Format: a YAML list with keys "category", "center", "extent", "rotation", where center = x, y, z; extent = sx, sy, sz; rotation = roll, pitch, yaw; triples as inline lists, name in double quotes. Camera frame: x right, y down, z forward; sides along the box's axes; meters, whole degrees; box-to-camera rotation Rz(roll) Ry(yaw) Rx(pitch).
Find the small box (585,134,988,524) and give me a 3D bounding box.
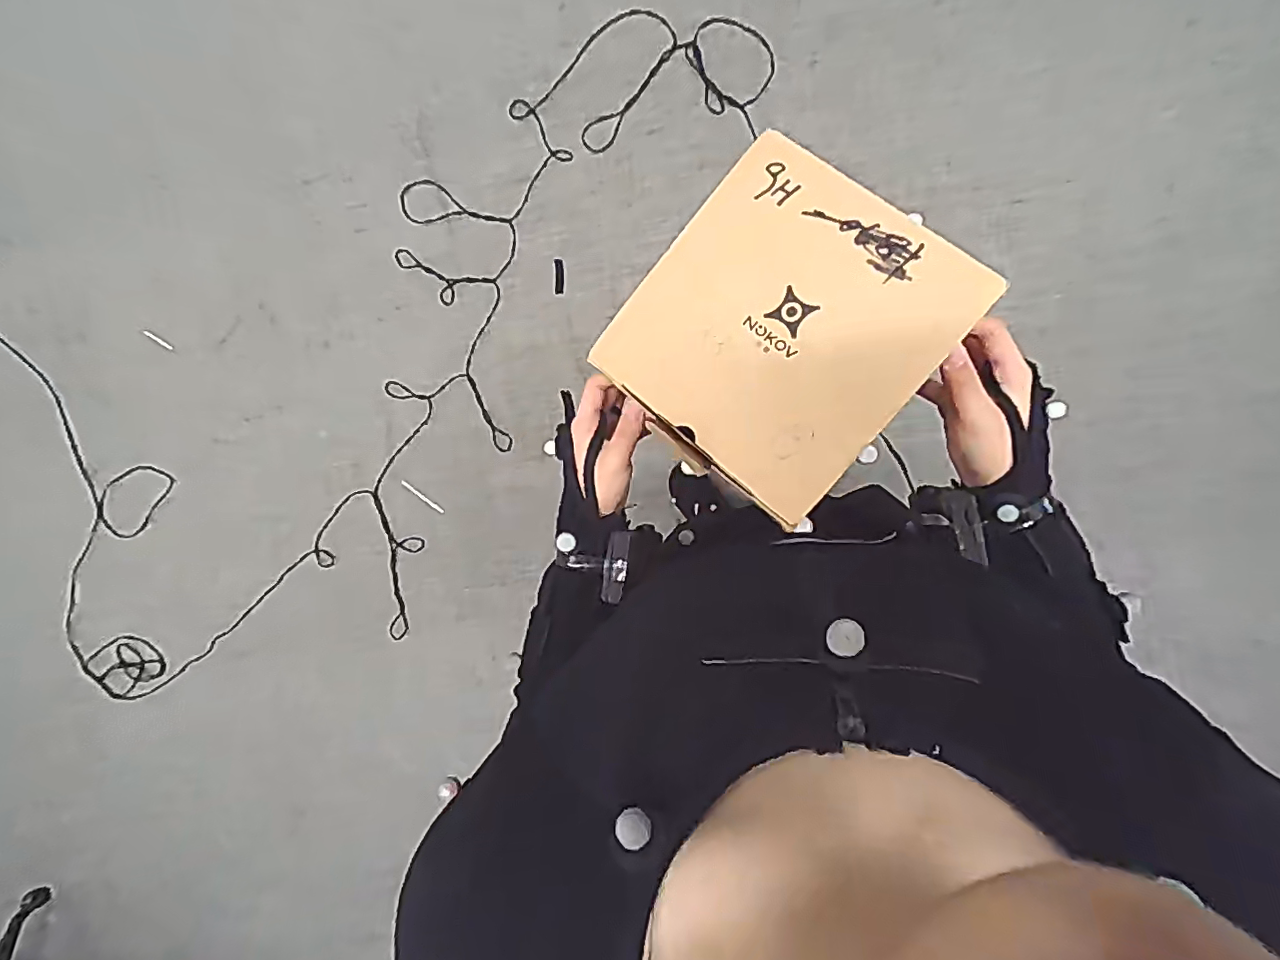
- category: "small box"
  center: [0.096, -0.088, 0.394]
  extent: [0.168, 0.176, 0.179]
  rotation: [41, 98, 11]
